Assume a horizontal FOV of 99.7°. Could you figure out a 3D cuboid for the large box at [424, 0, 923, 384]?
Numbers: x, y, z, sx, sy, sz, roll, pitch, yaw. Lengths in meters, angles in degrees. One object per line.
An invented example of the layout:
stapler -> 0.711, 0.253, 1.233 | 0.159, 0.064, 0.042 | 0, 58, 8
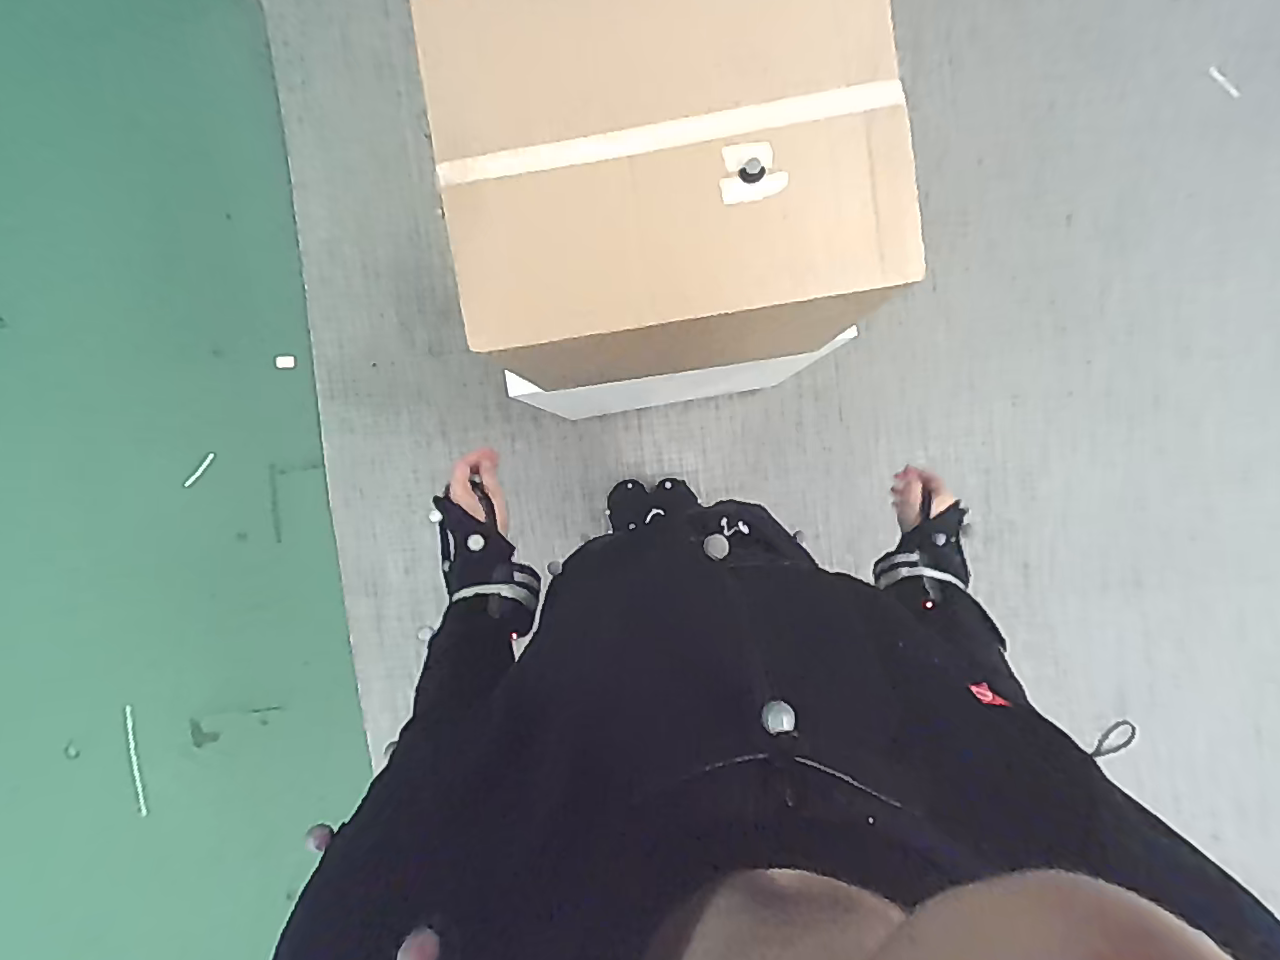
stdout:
large box -> 0.031, -0.313, 0.621 | 0.408, 0.320, 0.320 | -9, 93, 2
